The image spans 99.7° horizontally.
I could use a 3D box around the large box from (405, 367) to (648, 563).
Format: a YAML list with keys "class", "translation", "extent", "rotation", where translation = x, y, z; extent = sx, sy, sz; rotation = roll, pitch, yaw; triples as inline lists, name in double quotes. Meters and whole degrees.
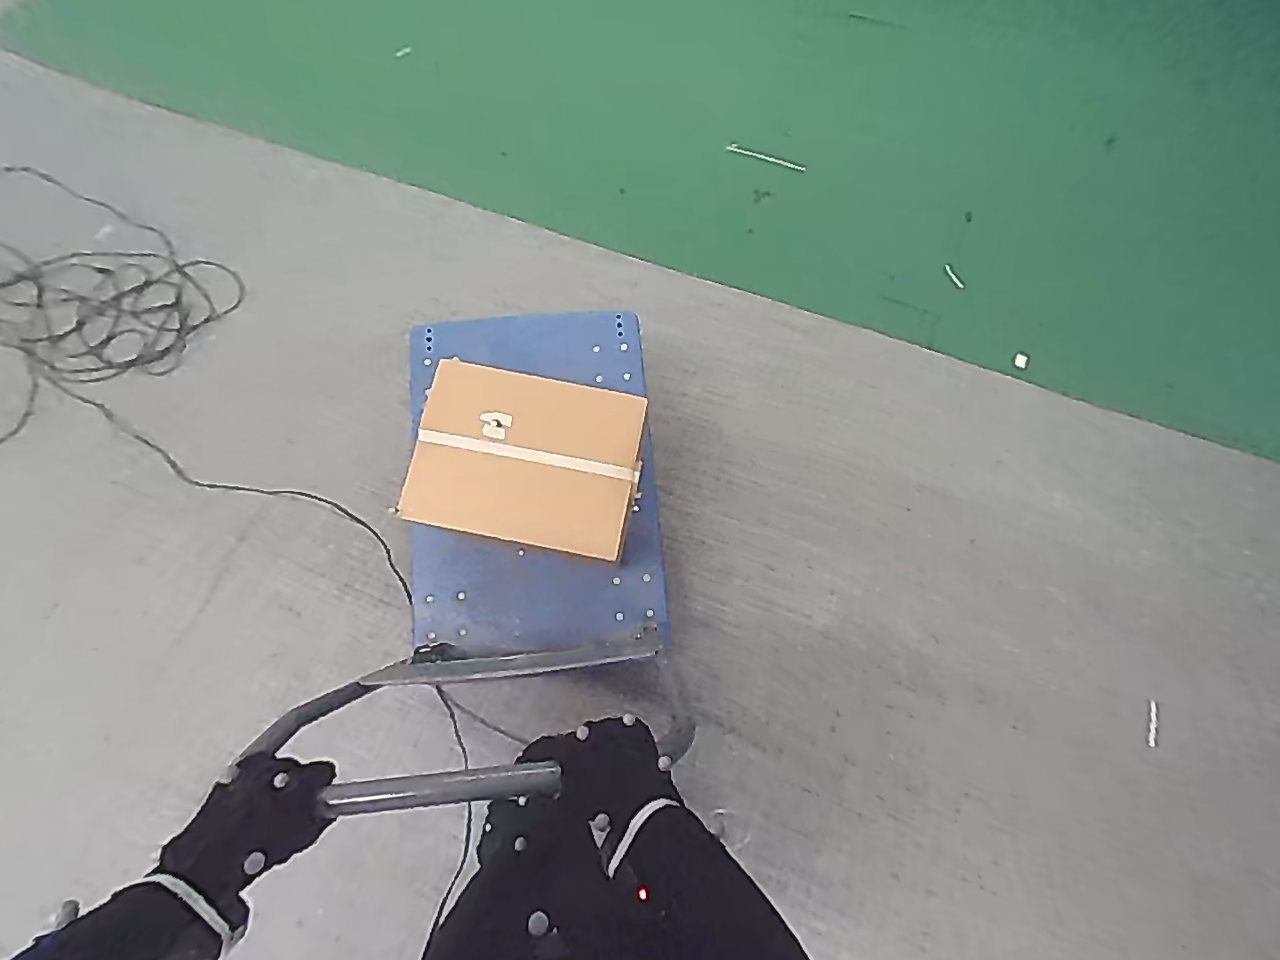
- class: "large box"
  translation: [-0.201, -0.010, 1.136]
  extent: [0.408, 0.320, 0.320]
  rotation: [10, 78, 2]
